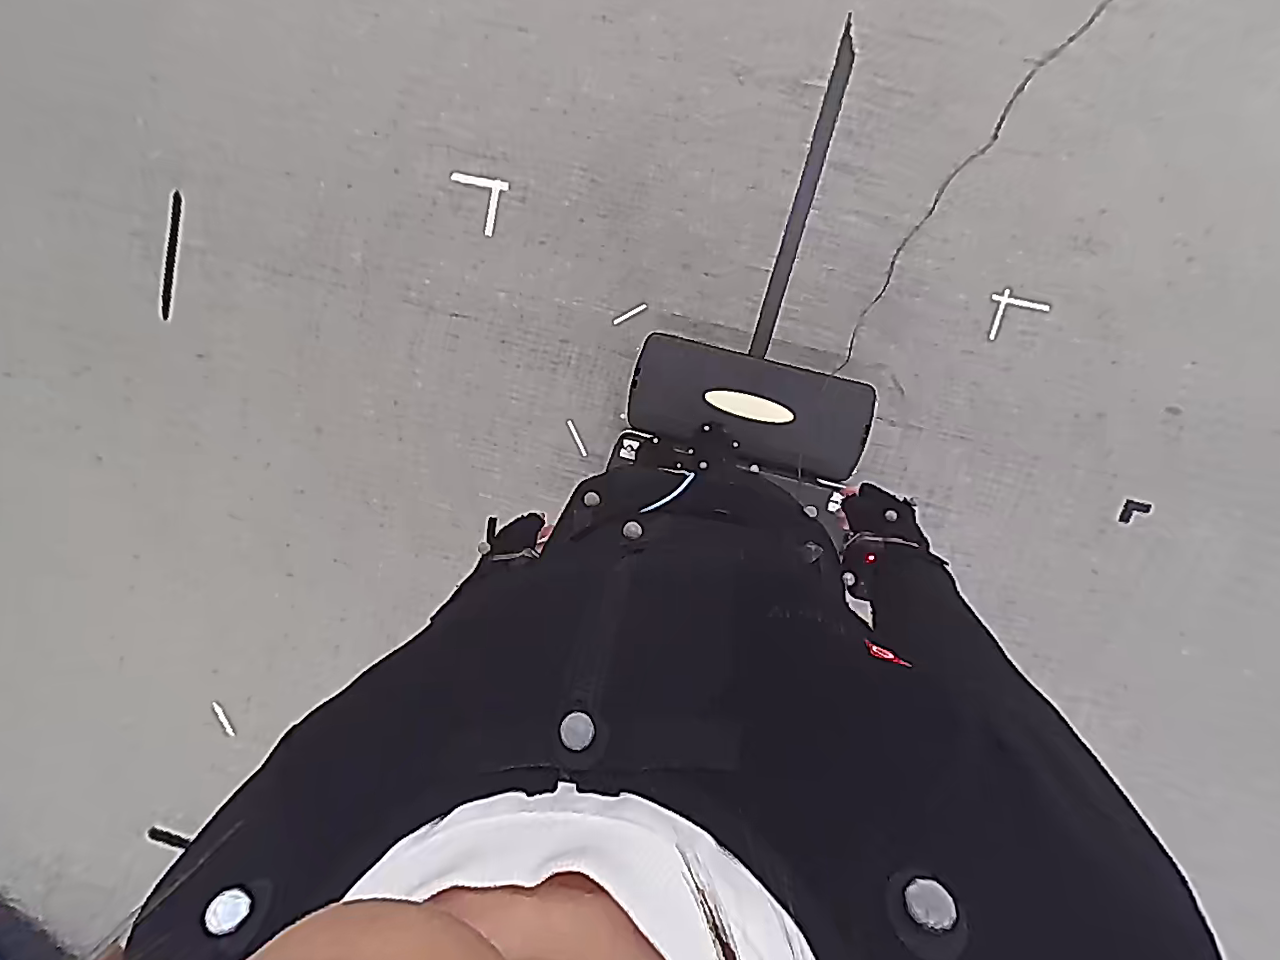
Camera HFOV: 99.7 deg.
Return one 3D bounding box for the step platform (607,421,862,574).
[{"bbox_3d":[0.252,0.042,1.521,0.684,0.204,0.286,14,97,5],"label":"step platform"}]
